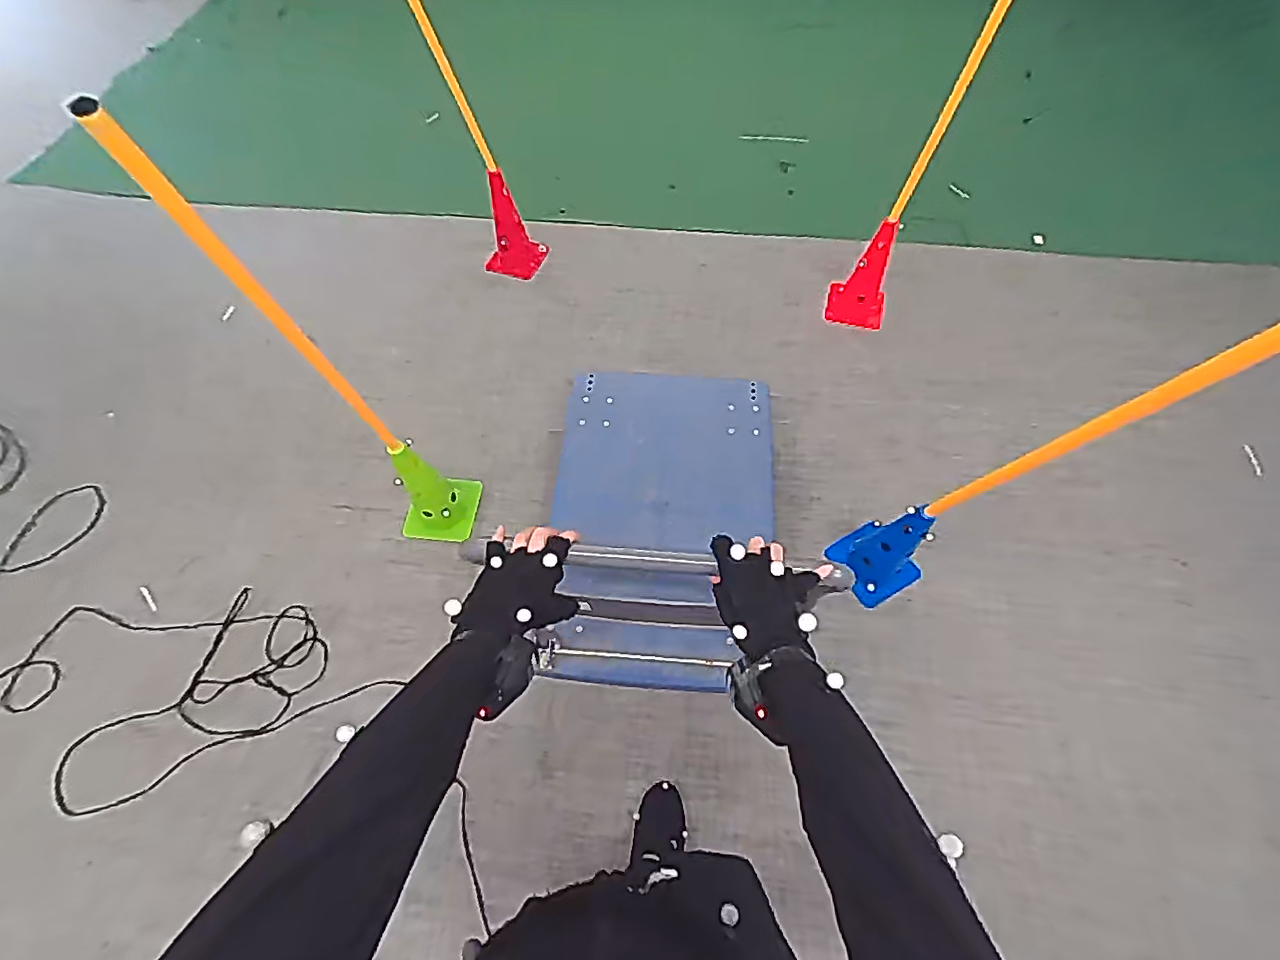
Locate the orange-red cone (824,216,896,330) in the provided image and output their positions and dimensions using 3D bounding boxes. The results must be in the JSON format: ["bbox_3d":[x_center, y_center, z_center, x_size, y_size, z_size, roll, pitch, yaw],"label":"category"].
[{"bbox_3d":[0.769,-0.706,1.798,0.198,0.360,0.199,15,65,10],"label":"orange-red cone"}]
